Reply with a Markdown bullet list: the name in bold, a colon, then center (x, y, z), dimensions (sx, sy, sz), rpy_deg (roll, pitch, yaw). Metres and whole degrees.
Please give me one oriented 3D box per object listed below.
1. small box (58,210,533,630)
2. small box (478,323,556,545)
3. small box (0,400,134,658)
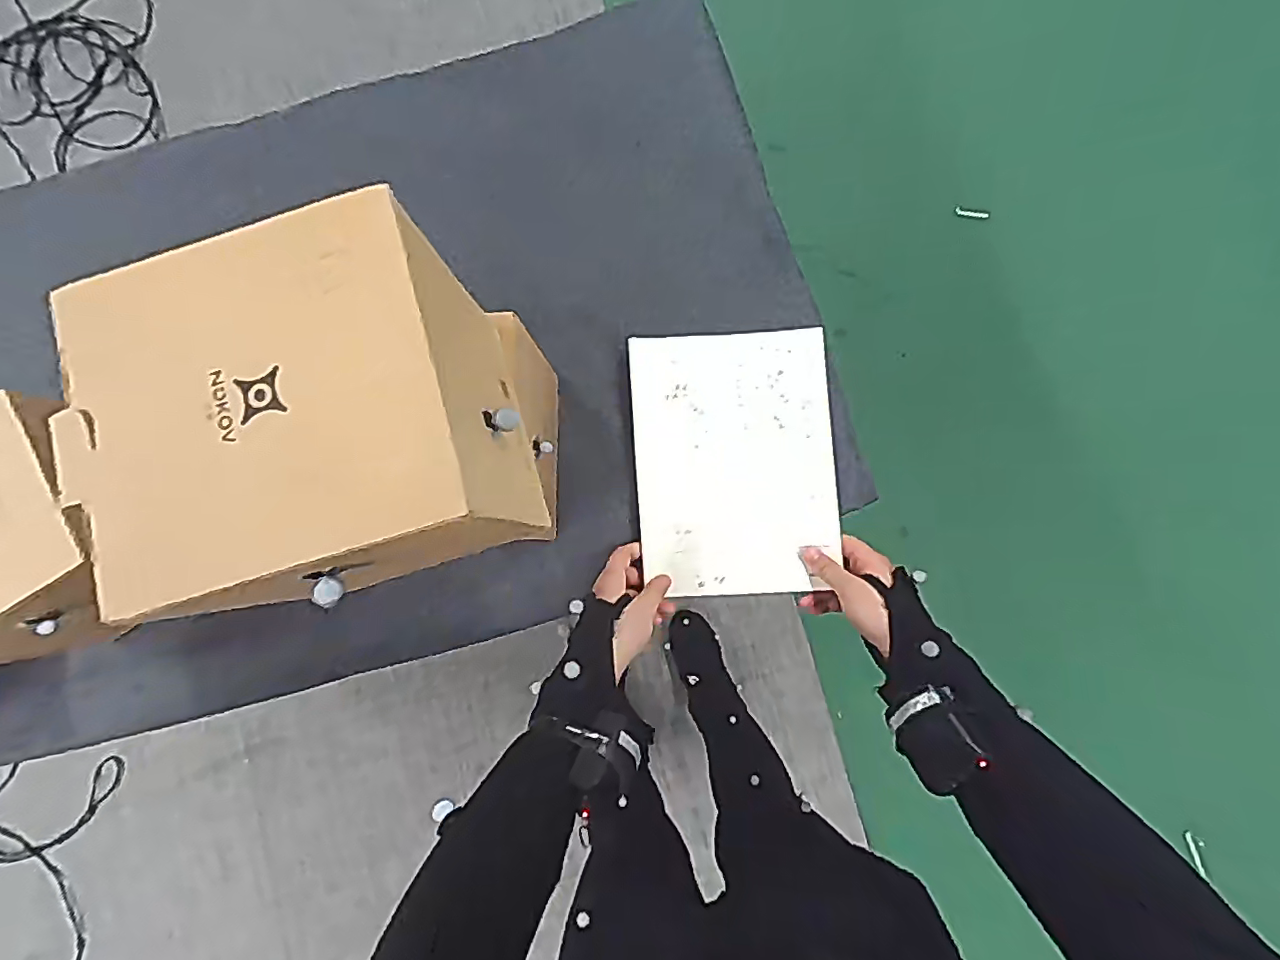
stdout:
- **small box**: center (-0.177, -0.023, 0.336), dimensions (0.179, 0.176, 0.168), rpy_deg (-17, 83, 2)
- **small box**: center (-0.177, -0.029, 0.500), dimensions (0.168, 0.176, 0.179), rpy_deg (-1, 84, 4)
- **small box**: center (-0.539, 0.055, 0.514), dimensions (0.179, 0.176, 0.168), rpy_deg (-32, 84, -1)
